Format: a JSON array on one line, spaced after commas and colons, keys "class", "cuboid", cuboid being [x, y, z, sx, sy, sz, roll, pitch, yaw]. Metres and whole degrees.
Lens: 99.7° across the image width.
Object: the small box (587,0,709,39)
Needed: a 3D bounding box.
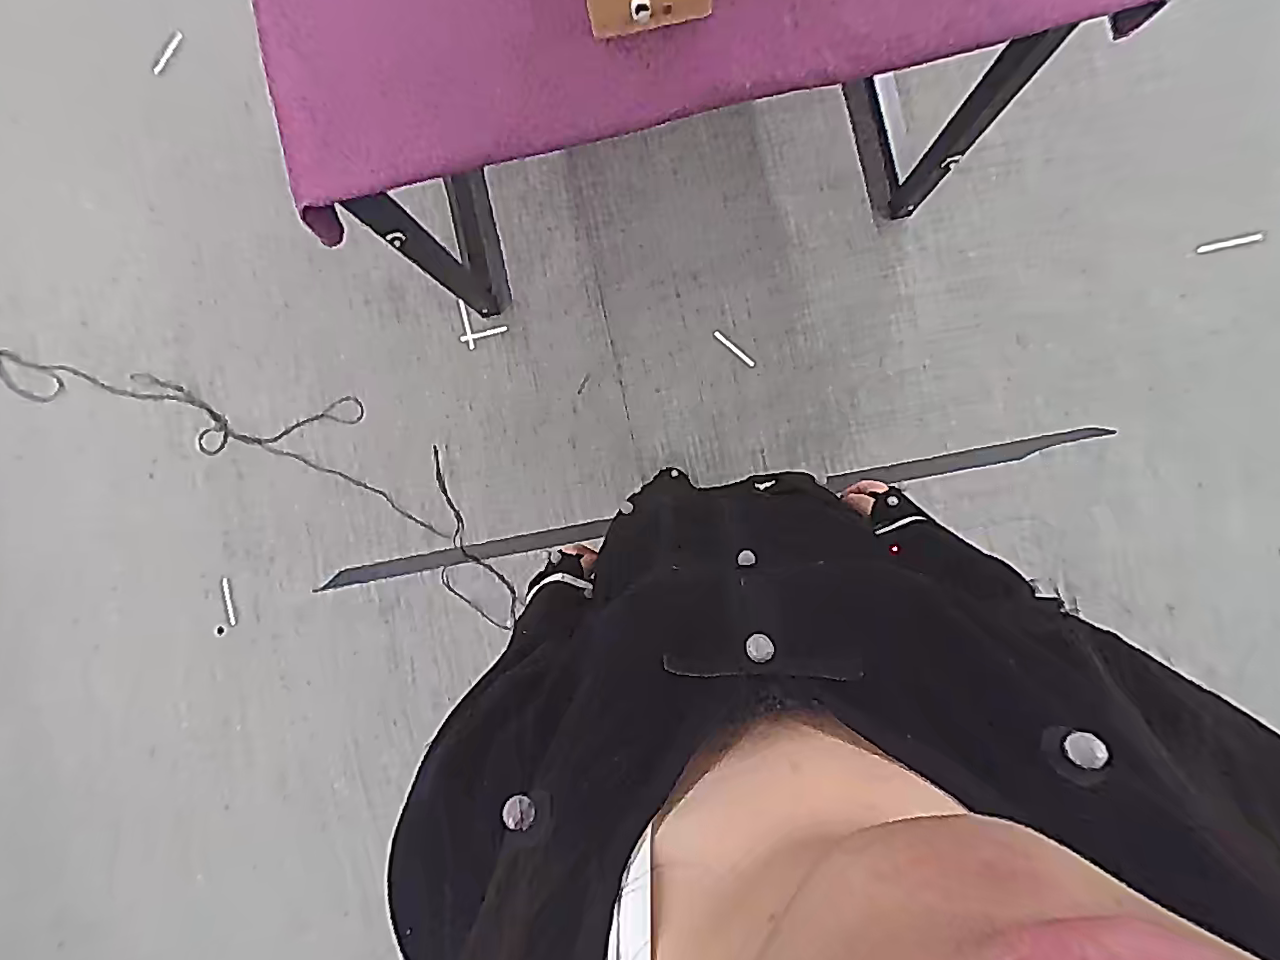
[{"class": "small box", "cuboid": [-0.003, -0.713, 0.674, 0.168, 0.176, 0.179, -10, 90, 5]}]
